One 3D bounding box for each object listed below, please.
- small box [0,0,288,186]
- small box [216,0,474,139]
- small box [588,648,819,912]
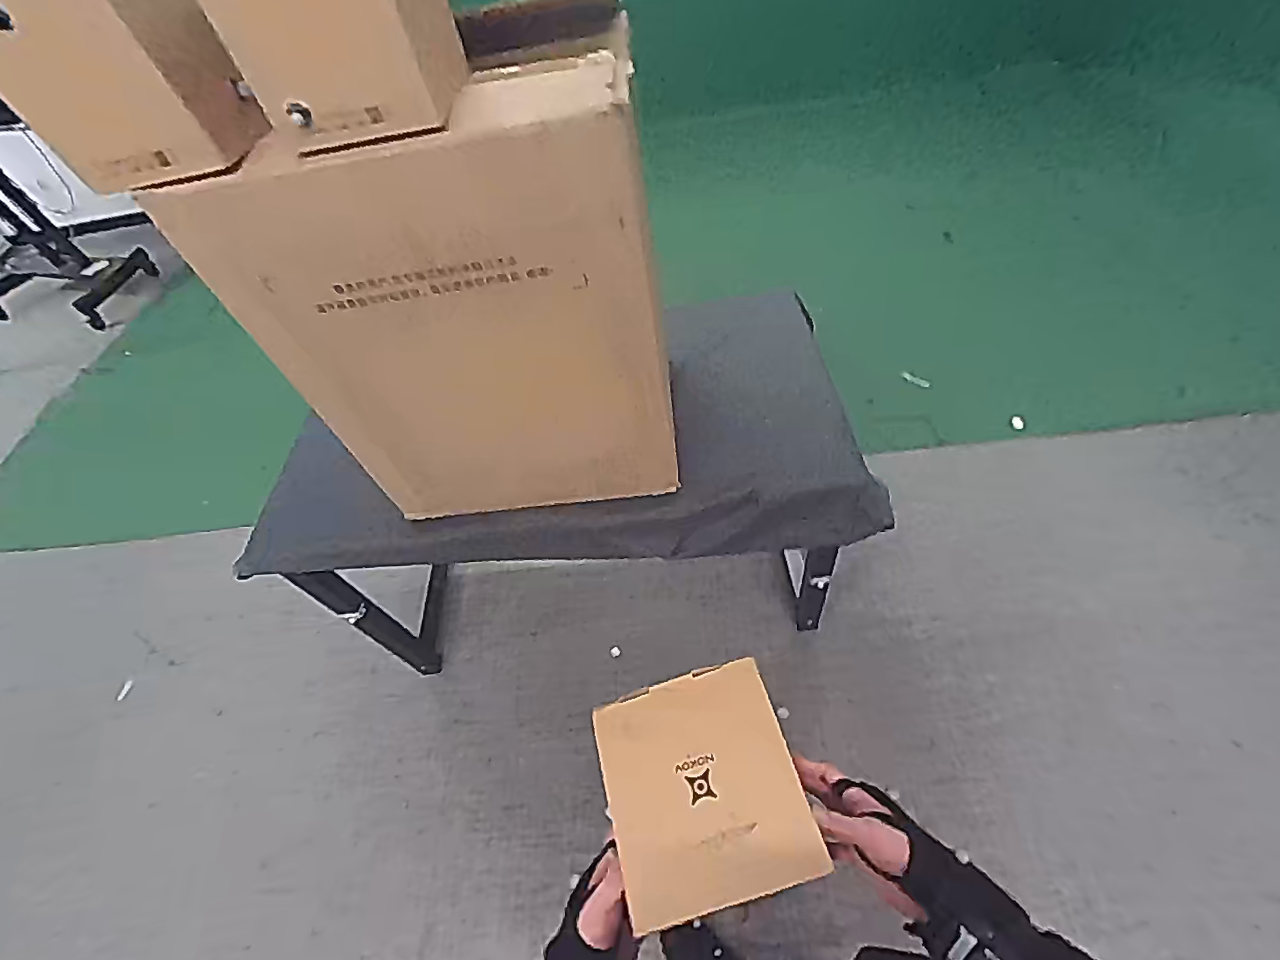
[{"bbox_3d":[-0.503,-0.434,0.556,0.168,0.176,0.179,-6,51,9],"label":"small box"},{"bbox_3d":[-0.282,-0.461,0.536,0.168,0.176,0.179,-6,51,5],"label":"small box"},{"bbox_3d":[0.061,0.293,0.535,0.168,0.176,0.179,-18,55,4],"label":"small box"}]
